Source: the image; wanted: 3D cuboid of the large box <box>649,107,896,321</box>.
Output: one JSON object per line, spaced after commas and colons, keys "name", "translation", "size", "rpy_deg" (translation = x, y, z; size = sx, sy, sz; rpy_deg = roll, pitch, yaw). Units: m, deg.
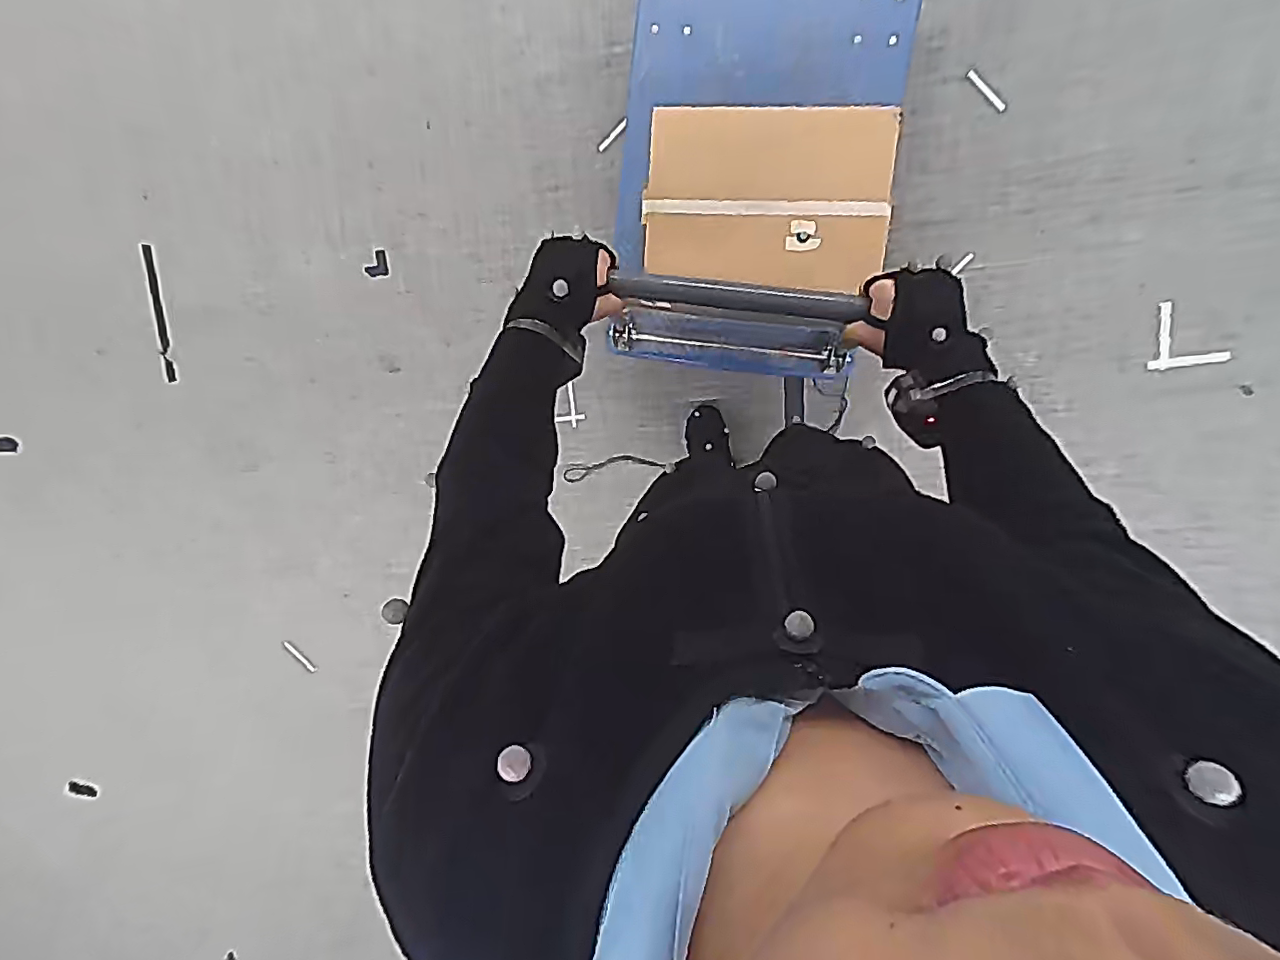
{"name": "large box", "translation": [0.232, -0.495, 1.075], "size": [0.408, 0.320, 0.320], "rpy_deg": [4, 101, 6]}
